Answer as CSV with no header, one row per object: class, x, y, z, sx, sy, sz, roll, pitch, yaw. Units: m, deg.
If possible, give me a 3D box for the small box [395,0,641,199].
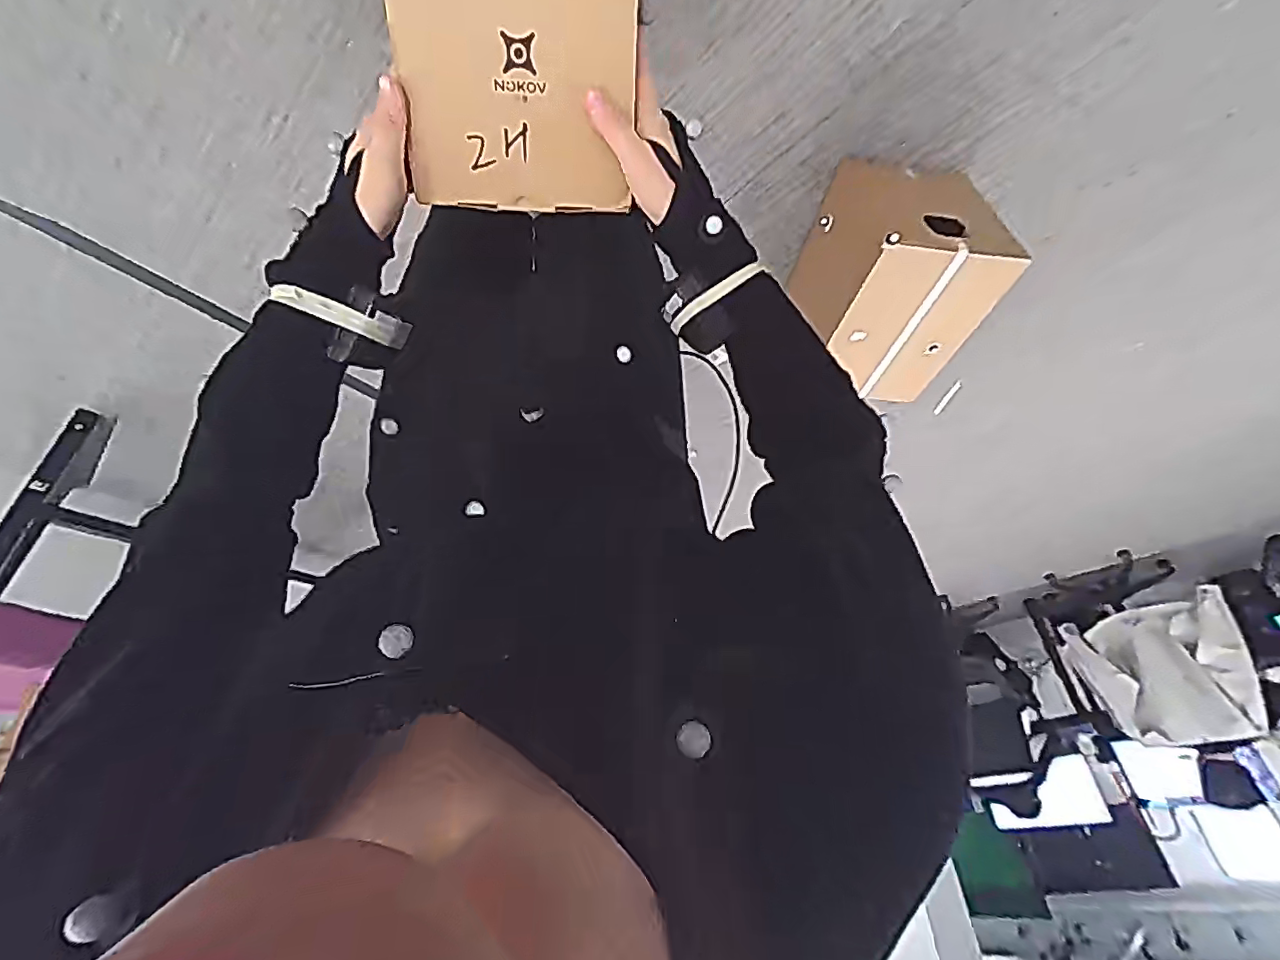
small box,-0.093,-0.337,0.443,0.168,0.176,0.179,-1,122,-7
